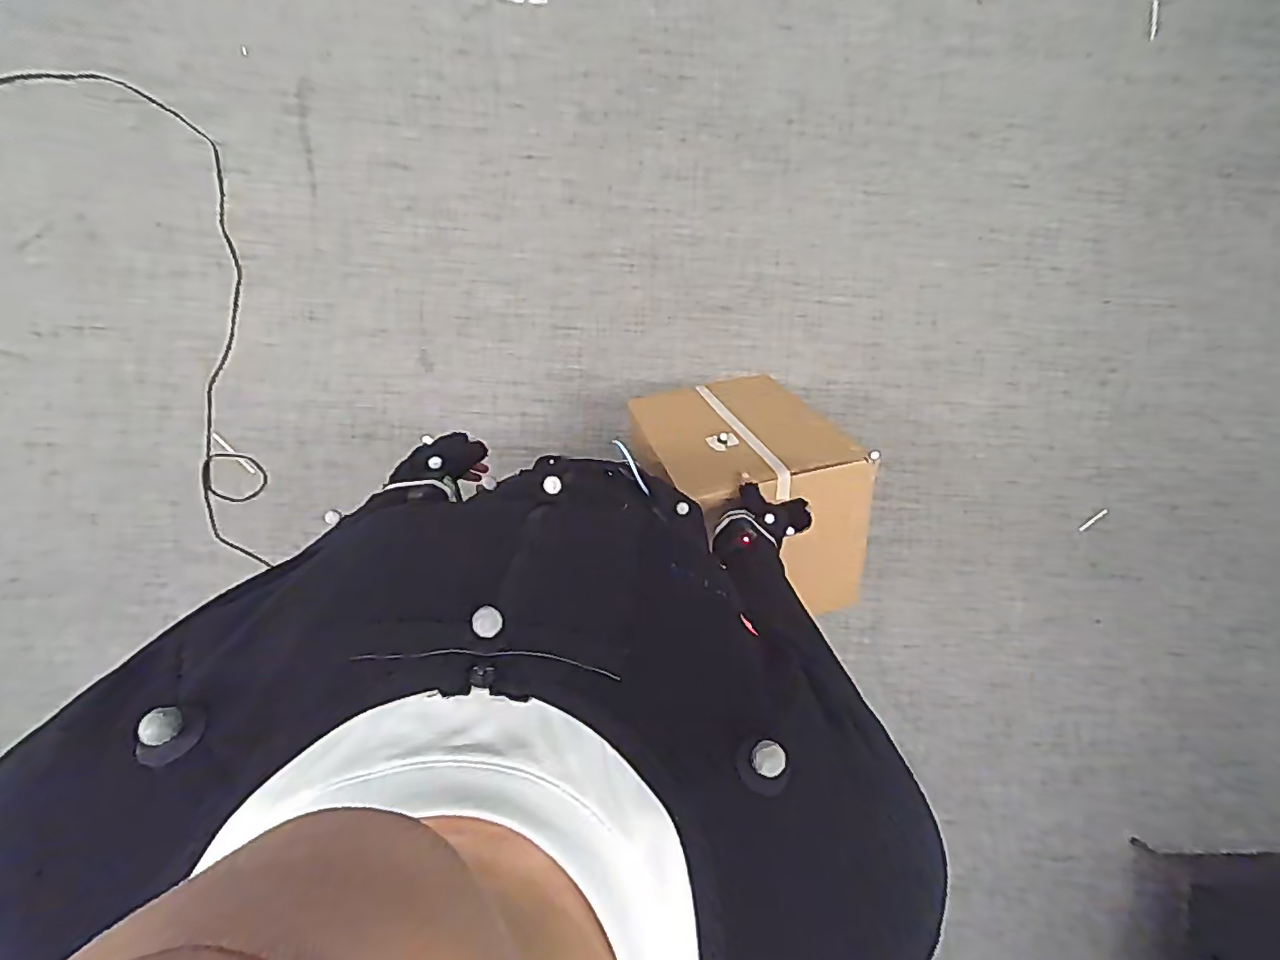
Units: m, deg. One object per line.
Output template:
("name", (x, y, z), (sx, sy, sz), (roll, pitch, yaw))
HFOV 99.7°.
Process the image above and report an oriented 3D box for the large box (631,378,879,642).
("large box", (0.184, 0.032, 1.042), (0.320, 0.408, 0.320), (-12, 122, -8))
